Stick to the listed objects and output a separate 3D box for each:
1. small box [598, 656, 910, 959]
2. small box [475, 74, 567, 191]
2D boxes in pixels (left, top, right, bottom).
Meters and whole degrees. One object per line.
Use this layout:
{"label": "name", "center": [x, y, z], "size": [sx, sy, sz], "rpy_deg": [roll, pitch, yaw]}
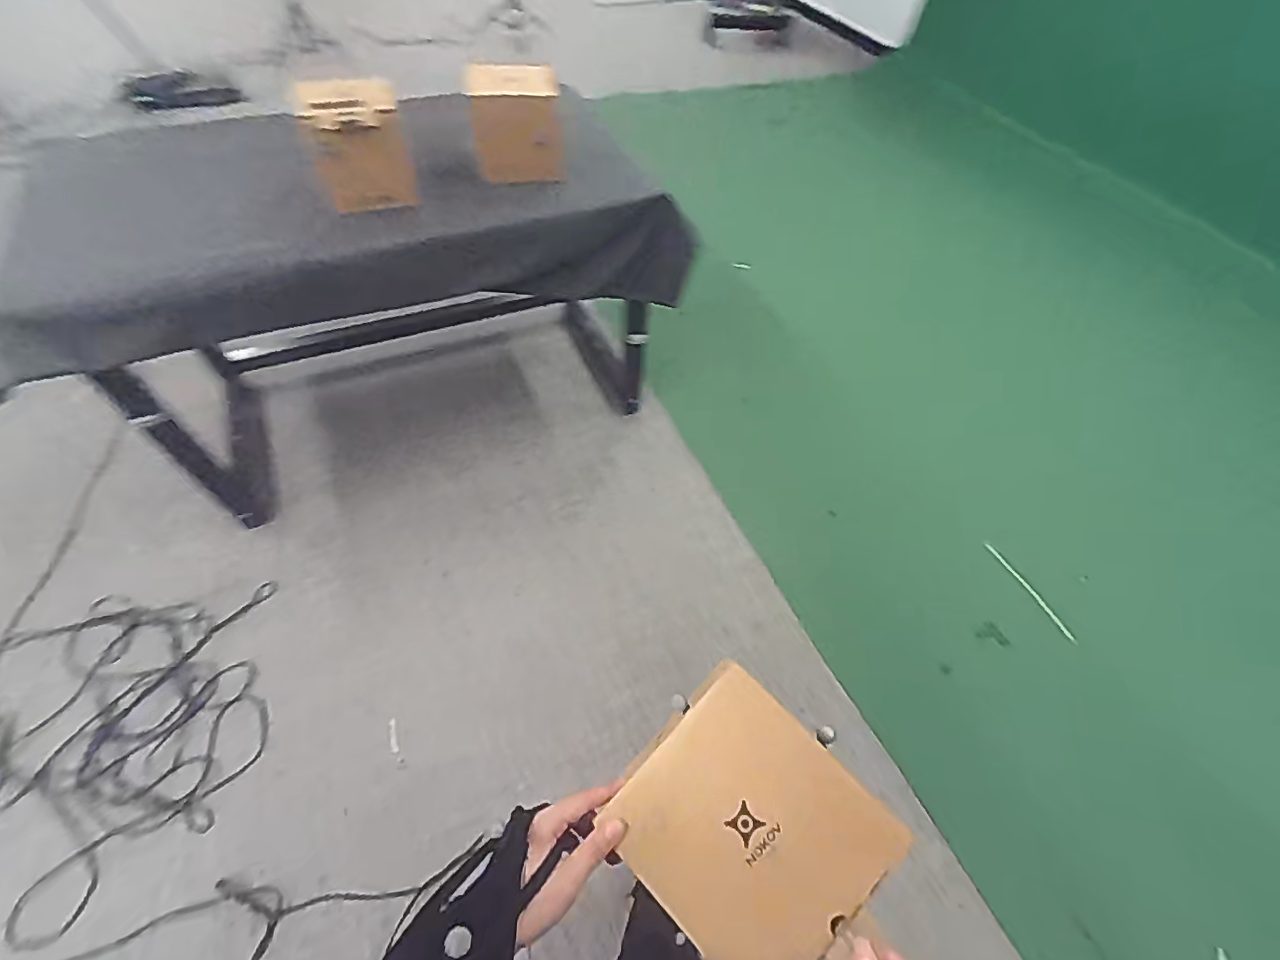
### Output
{"label": "small box", "center": [0.087, 0.280, 0.480], "size": [0.179, 0.176, 0.168], "rpy_deg": [41, 79, 14]}
{"label": "small box", "center": [-0.254, -0.749, 1.171], "size": [0.179, 0.176, 0.168], "rpy_deg": [-7, 54, -8]}
